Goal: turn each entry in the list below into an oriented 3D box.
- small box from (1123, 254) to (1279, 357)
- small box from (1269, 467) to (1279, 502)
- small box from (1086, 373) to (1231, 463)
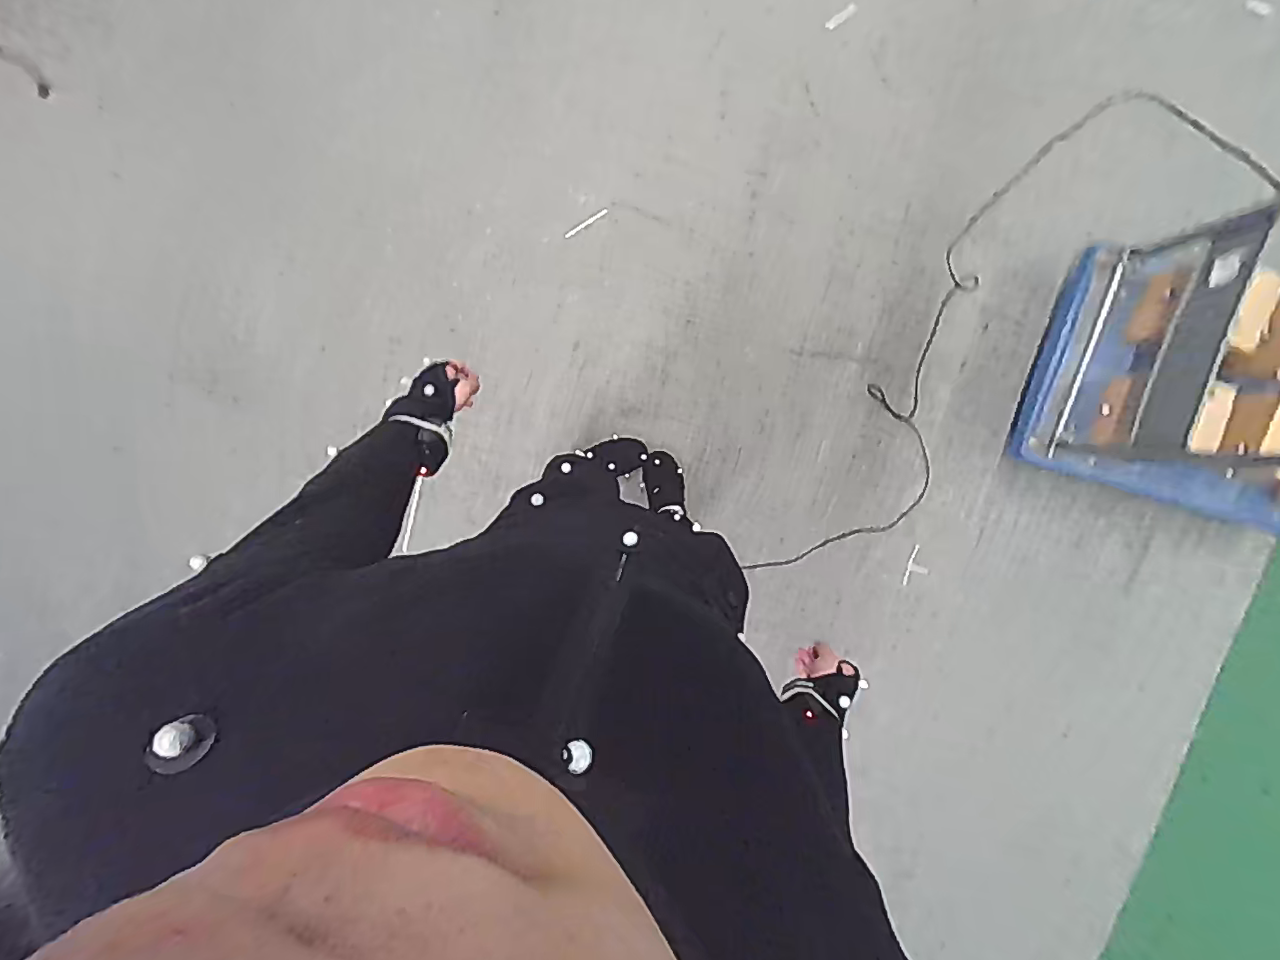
[{"bbox_3d":[1.318,-0.403,1.287,0.168,0.176,0.179,18,96,0],"label":"small box"},{"bbox_3d":[1.721,-0.005,1.314,0.168,0.176,0.179,17,98,3],"label":"small box"},{"bbox_3d":[1.247,-0.152,1.318,0.168,0.176,0.179,14,97,1],"label":"small box"}]
